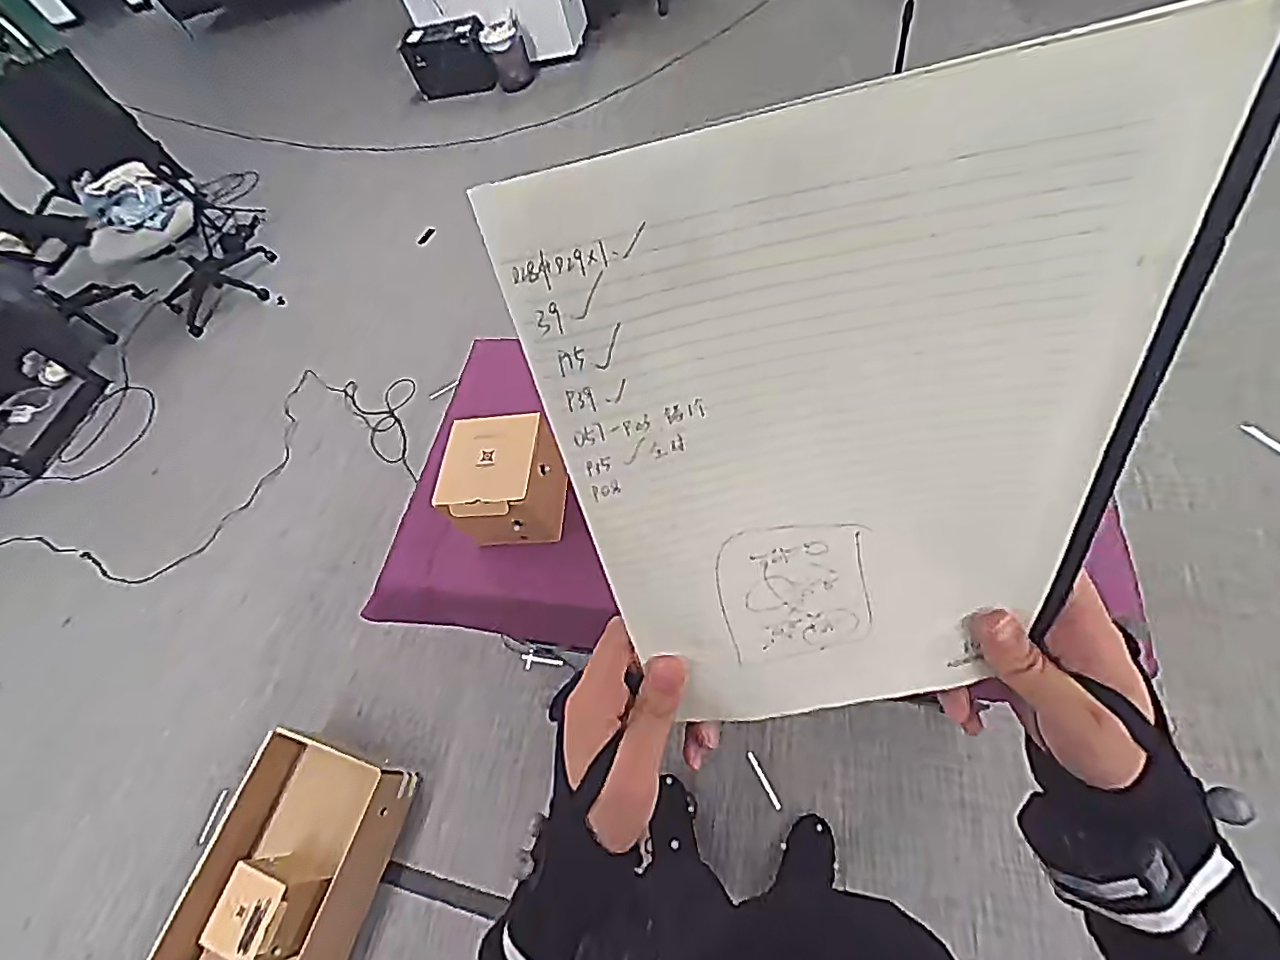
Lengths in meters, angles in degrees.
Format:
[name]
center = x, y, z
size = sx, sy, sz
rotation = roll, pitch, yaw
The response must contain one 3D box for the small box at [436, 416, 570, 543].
[small box]
center = -0.234, 0.008, 0.975
size = 0.168, 0.176, 0.179
rotation = -3, 60, 12
